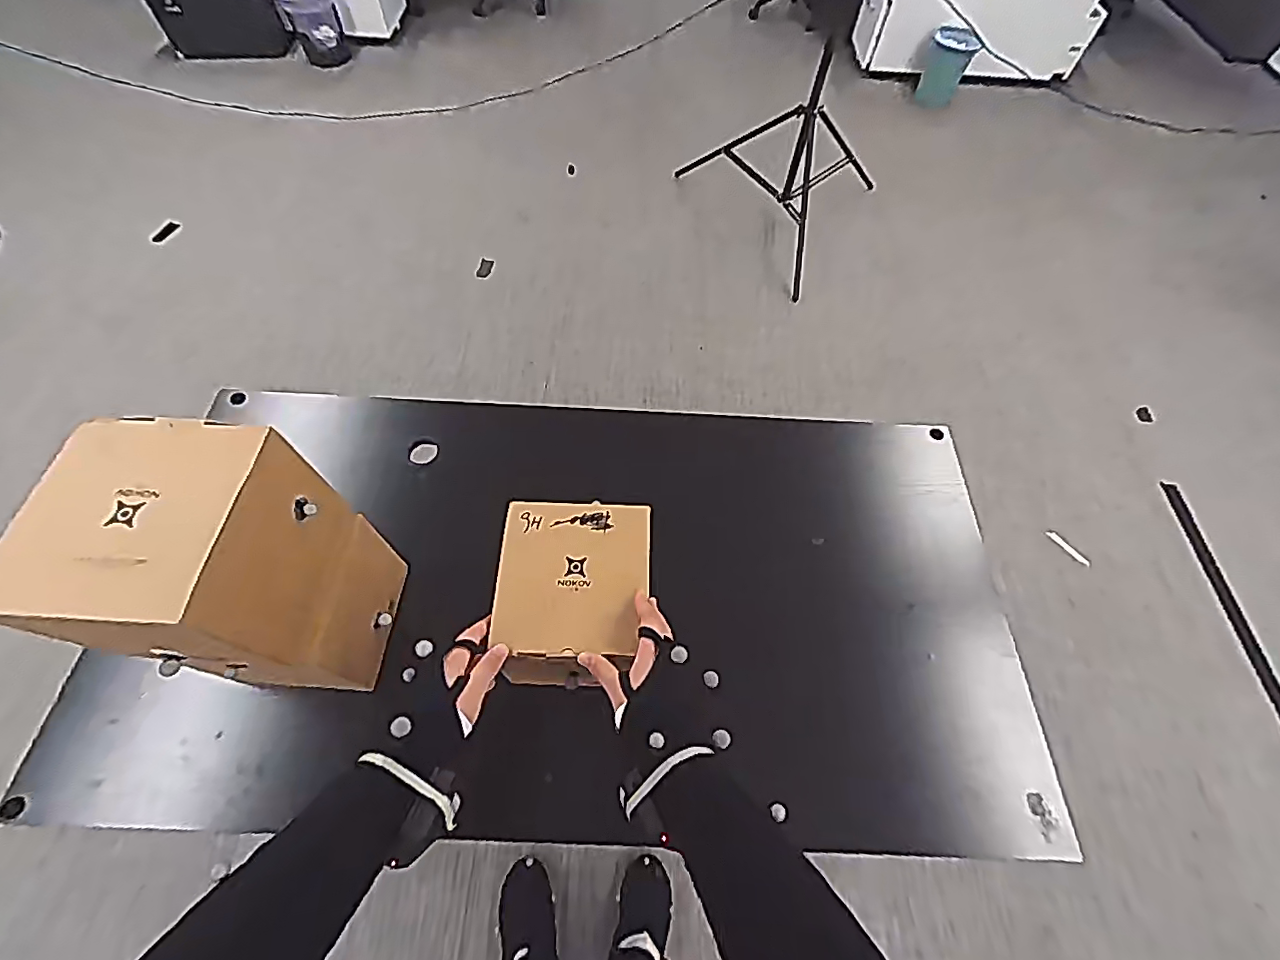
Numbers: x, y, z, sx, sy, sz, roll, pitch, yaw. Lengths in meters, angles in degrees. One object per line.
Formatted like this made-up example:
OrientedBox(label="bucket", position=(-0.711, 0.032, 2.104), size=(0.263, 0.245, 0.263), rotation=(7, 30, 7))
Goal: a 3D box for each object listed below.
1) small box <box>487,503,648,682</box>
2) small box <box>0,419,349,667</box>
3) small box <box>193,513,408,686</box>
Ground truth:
OrientedBox(label="small box", position=(-0.076, 0.144, 0.662), size=(0.168, 0.176, 0.179), rotation=(2, 60, -1))
OrientedBox(label="small box", position=(-0.403, 0.064, 0.503), size=(0.168, 0.176, 0.179), rotation=(2, 61, 0))
OrientedBox(label="small box", position=(-0.407, 0.144, 0.644), size=(0.179, 0.176, 0.168), rotation=(4, 60, -1))
